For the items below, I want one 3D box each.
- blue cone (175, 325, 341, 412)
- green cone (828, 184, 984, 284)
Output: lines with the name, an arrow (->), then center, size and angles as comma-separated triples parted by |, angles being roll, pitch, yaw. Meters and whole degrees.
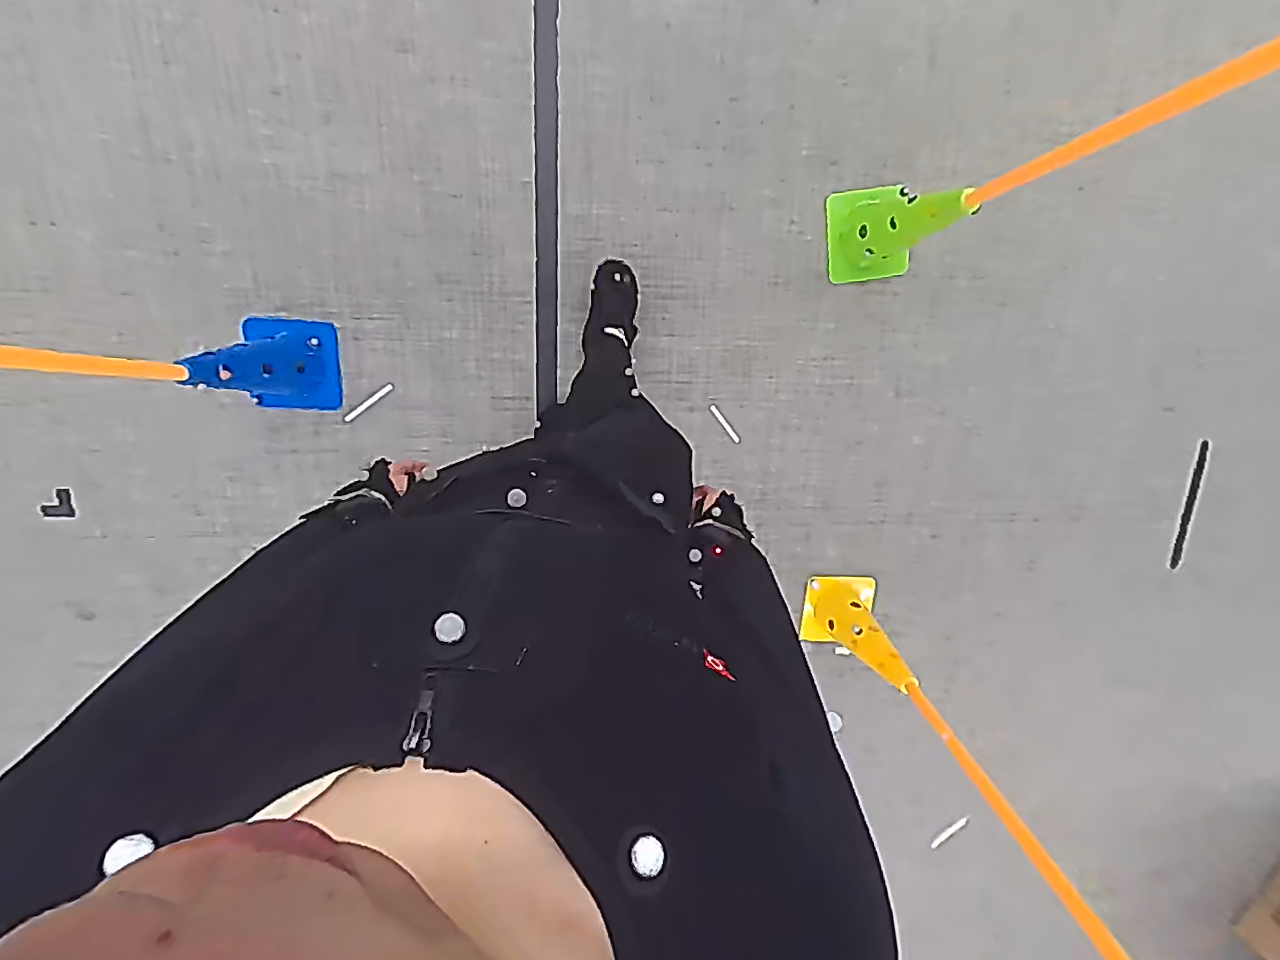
blue cone -> -0.768, -0.209, 1.068 | 0.193, 0.380, 0.192 | 3, 104, -6
green cone -> 0.558, -0.531, 1.109 | 0.200, 0.368, 0.202 | -10, 107, -3
